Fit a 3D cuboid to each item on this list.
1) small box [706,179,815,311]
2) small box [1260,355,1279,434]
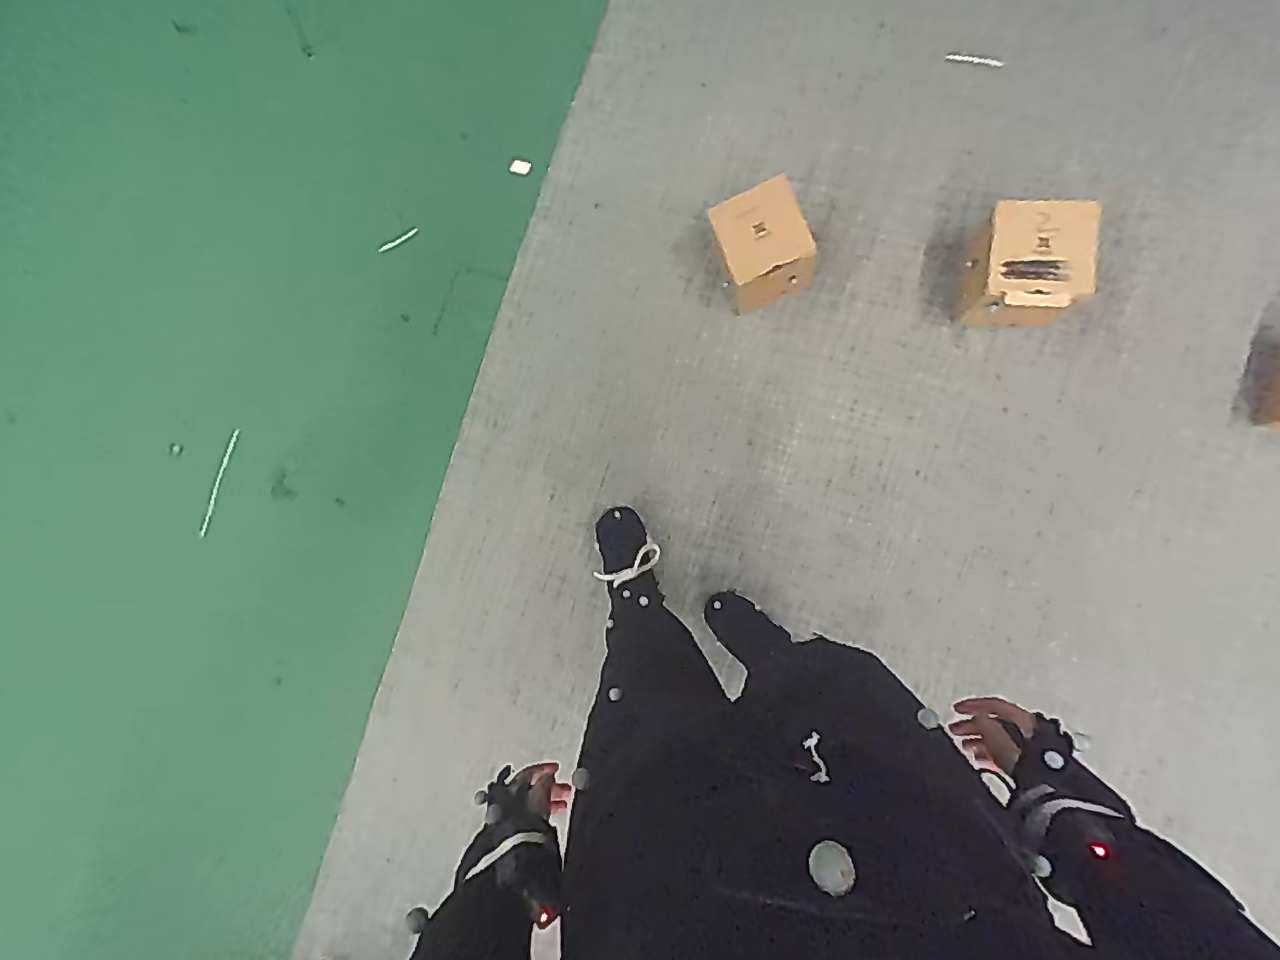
[{"bbox_3d":[0.251,-0.478,1.138,0.168,0.176,0.179,-22,81,8],"label":"small box"},{"bbox_3d":[1.229,-0.161,0.912,0.168,0.176,0.179,16,90,12],"label":"small box"}]
